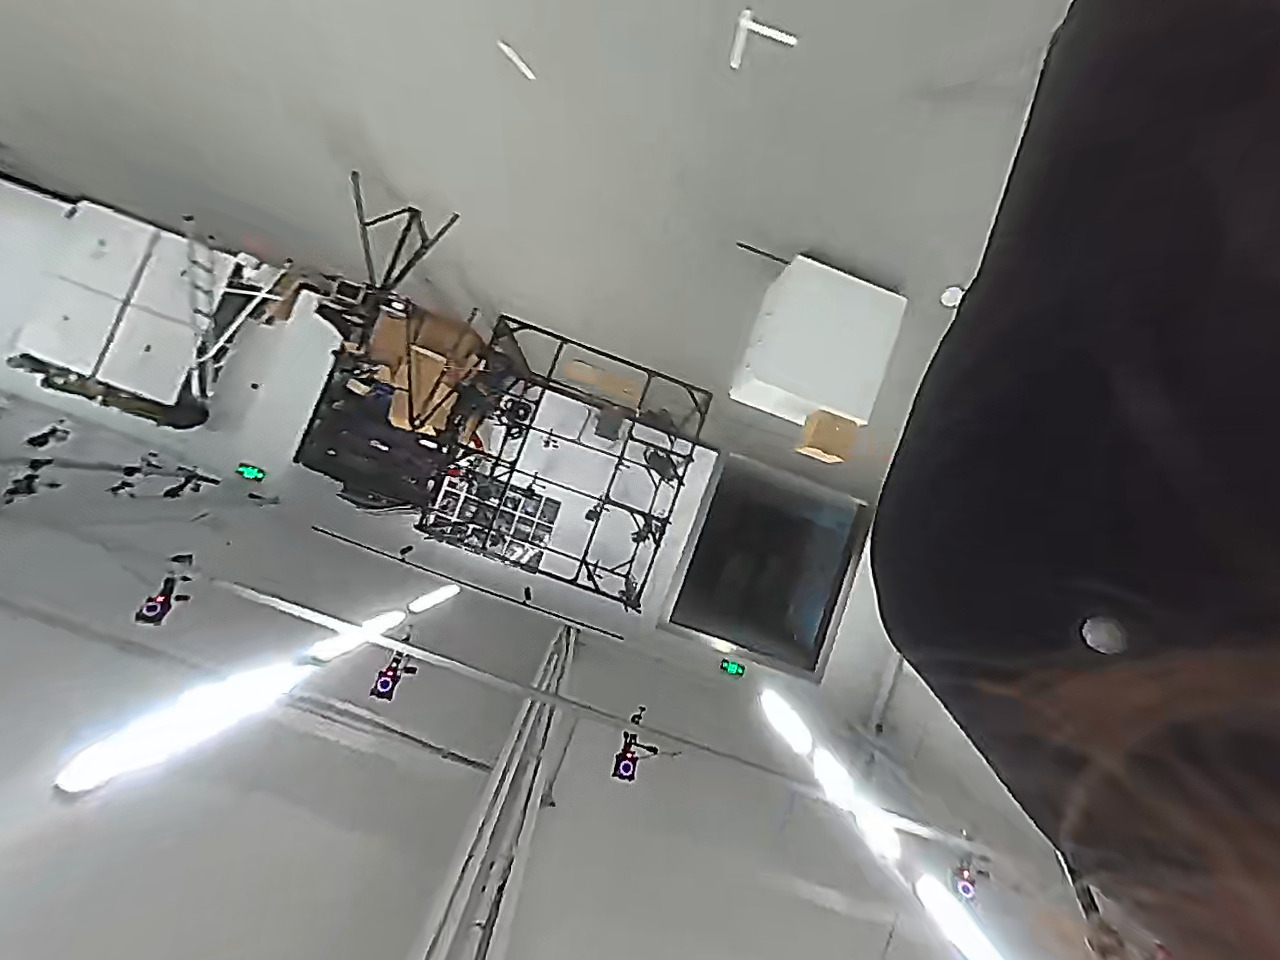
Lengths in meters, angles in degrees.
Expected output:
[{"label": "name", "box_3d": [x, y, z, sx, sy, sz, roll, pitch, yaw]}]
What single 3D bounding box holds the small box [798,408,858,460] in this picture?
[{"label": "small box", "box_3d": [0.814, -0.198, 2.335, 0.168, 0.176, 0.179, 20, 177, -3]}]
